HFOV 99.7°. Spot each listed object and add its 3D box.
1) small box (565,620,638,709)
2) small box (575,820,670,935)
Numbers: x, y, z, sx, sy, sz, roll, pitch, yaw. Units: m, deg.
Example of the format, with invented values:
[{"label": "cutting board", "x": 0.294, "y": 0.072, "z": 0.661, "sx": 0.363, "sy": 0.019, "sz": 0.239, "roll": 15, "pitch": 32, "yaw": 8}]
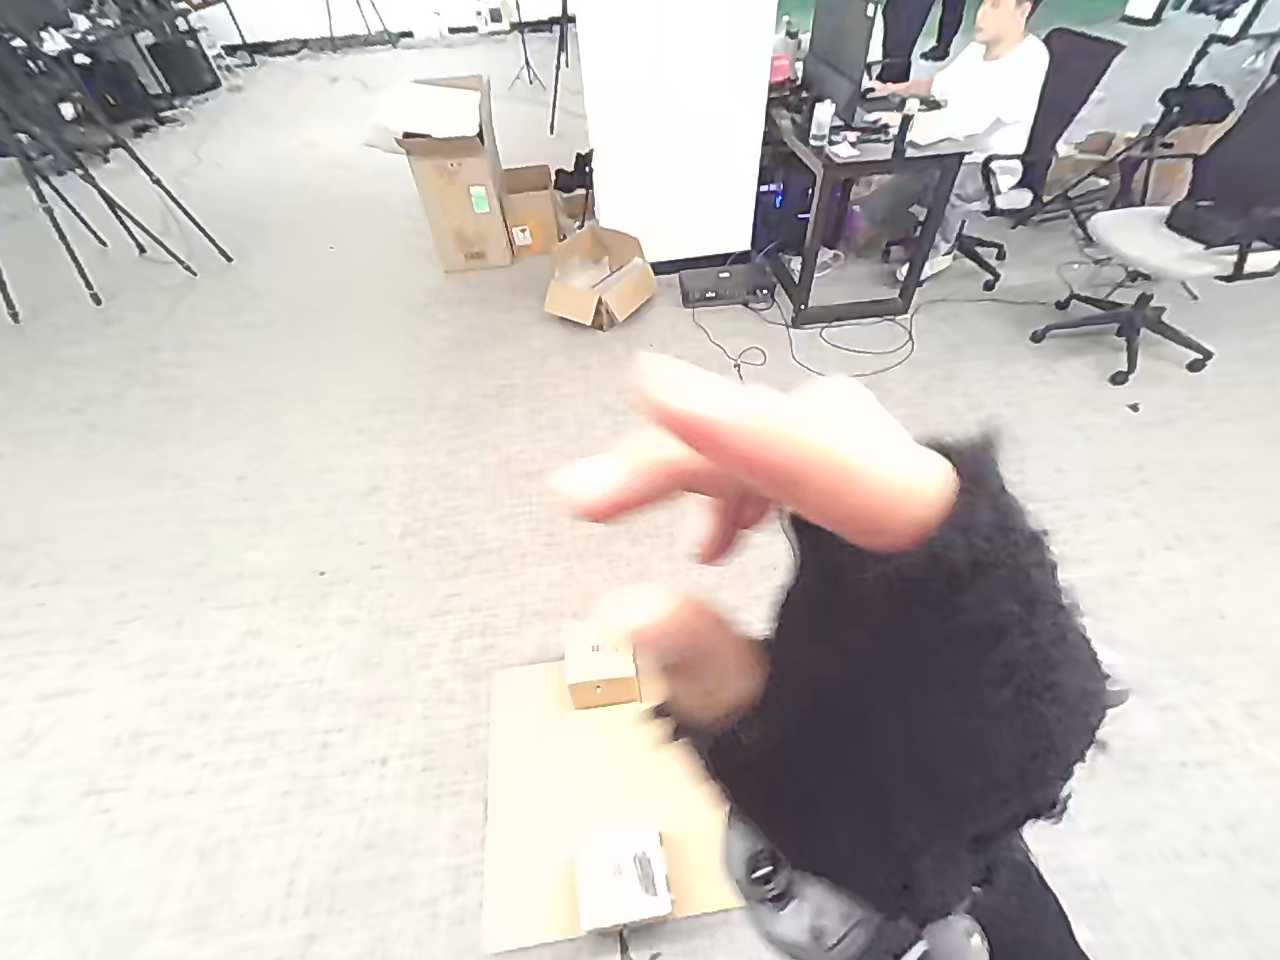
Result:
[{"label": "small box", "x": -0.103, "y": 0.495, "z": 1.442, "sx": 0.179, "sy": 0.176, "sz": 0.168, "roll": -5, "pitch": 48, "yaw": -3}, {"label": "small box", "x": -0.037, "y": 0.832, "z": 1.132, "sx": 0.179, "sy": 0.176, "sz": 0.168, "roll": -8, "pitch": 48, "yaw": -4}]
